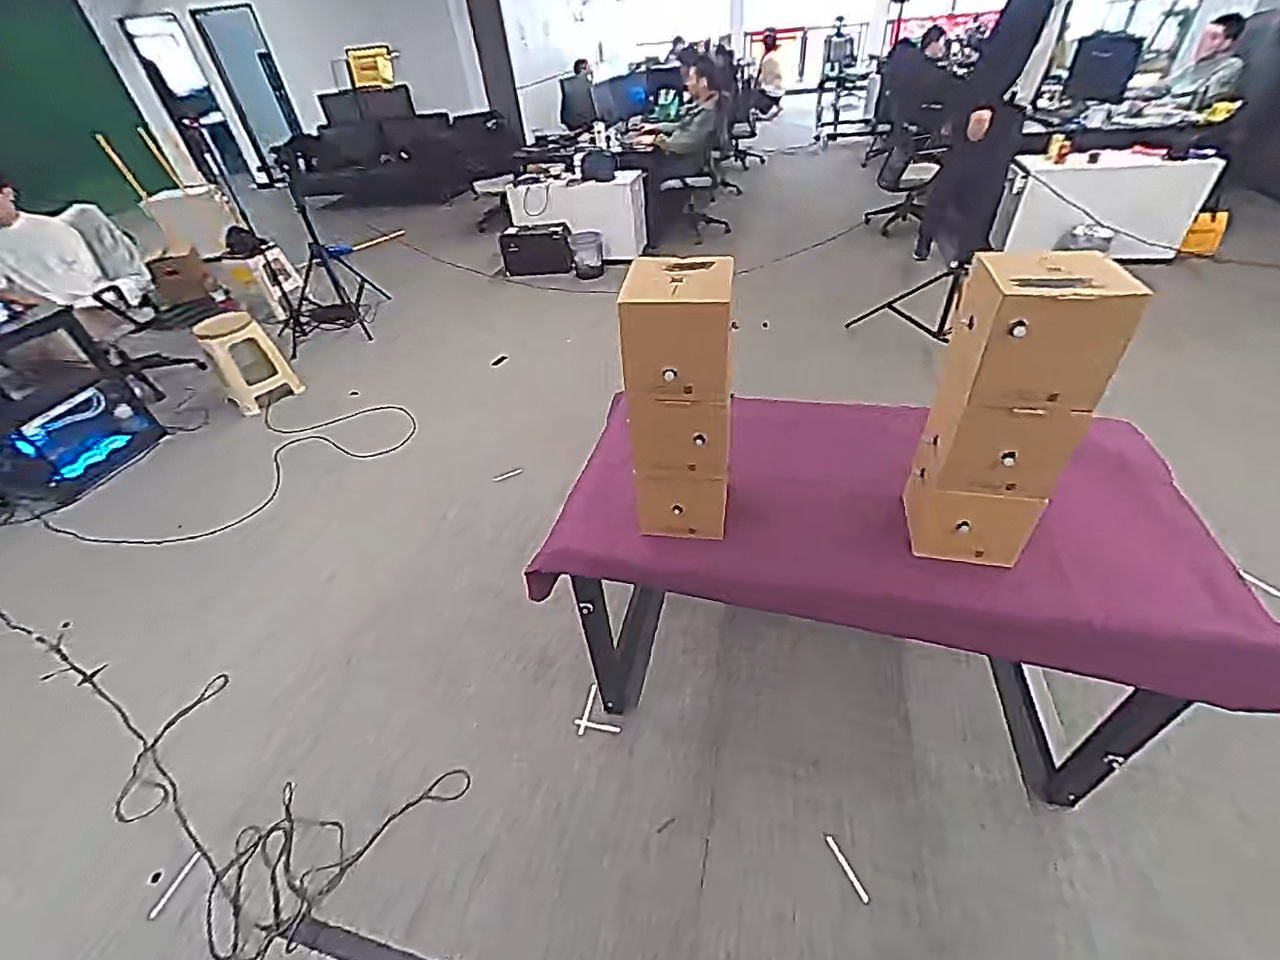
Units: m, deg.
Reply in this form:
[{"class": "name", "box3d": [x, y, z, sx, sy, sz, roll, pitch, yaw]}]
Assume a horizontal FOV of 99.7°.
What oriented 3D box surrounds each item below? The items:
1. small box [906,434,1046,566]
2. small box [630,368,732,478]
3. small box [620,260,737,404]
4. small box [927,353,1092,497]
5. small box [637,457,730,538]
[{"class": "small box", "box3d": [0.603, 0.036, 0.996, 0.168, 0.176, 0.179, 6, 41, 14]}, {"class": "small box", "box3d": [0.081, -0.119, 0.986, 0.168, 0.176, 0.179, 3, 40, 9]}, {"class": "small box", "box3d": [0.067, -0.244, 0.880, 0.168, 0.176, 0.179, 3, 42, 9]}, {"class": "small box", "box3d": [0.591, -0.091, 0.894, 0.168, 0.176, 0.179, 6, 42, 15]}, {"class": "small box", "box3d": [0.095, 0.000, 1.097, 0.168, 0.176, 0.179, 4, 40, 10]}]
